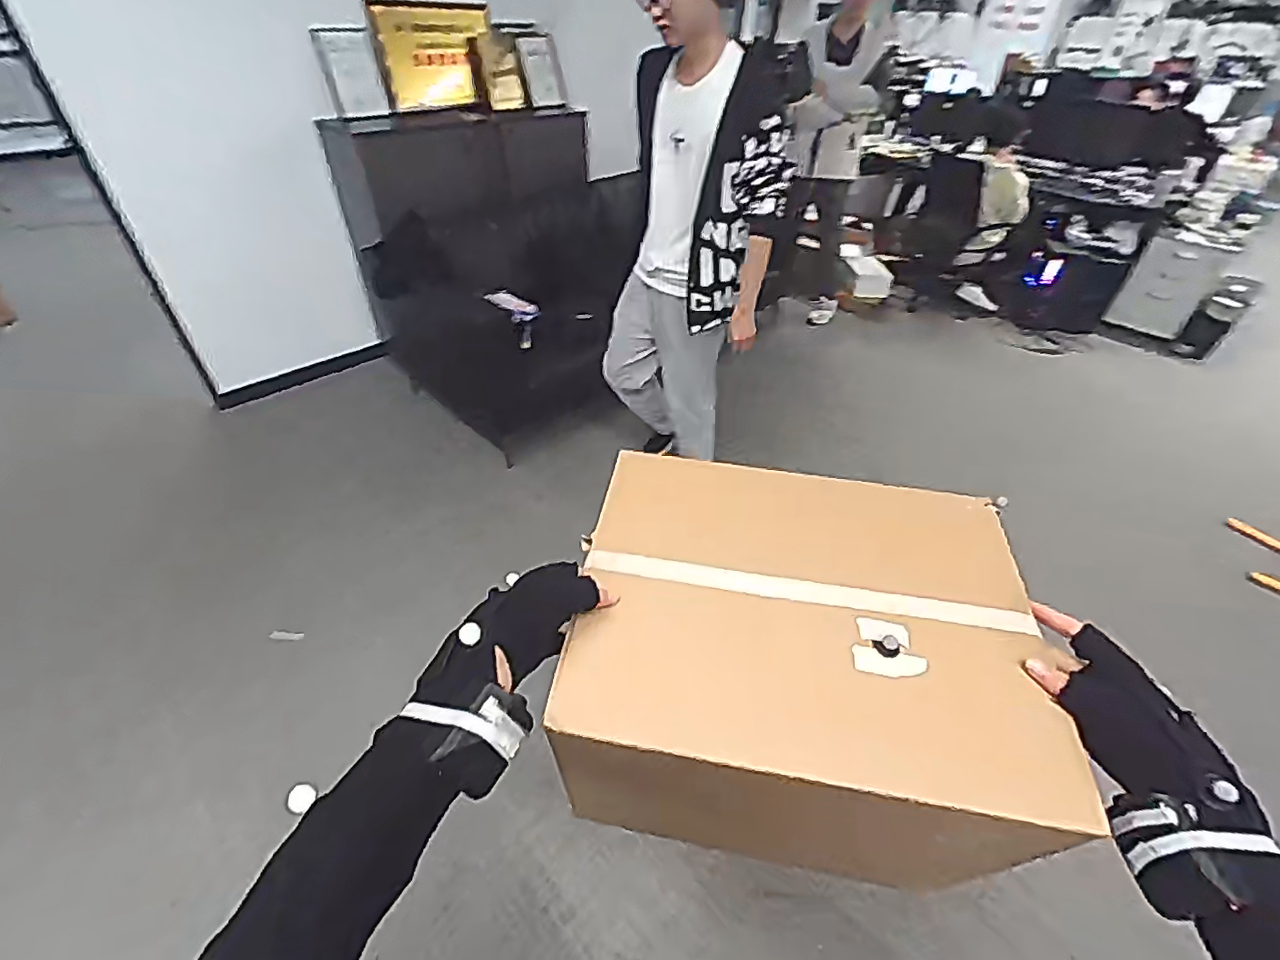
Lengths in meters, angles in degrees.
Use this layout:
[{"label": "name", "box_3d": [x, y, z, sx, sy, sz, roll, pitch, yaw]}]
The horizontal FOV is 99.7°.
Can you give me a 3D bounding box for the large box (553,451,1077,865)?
[{"label": "large box", "box_3d": [0.141, 0.200, 0.617, 0.408, 0.320, 0.320, 8, 48, 5]}]
